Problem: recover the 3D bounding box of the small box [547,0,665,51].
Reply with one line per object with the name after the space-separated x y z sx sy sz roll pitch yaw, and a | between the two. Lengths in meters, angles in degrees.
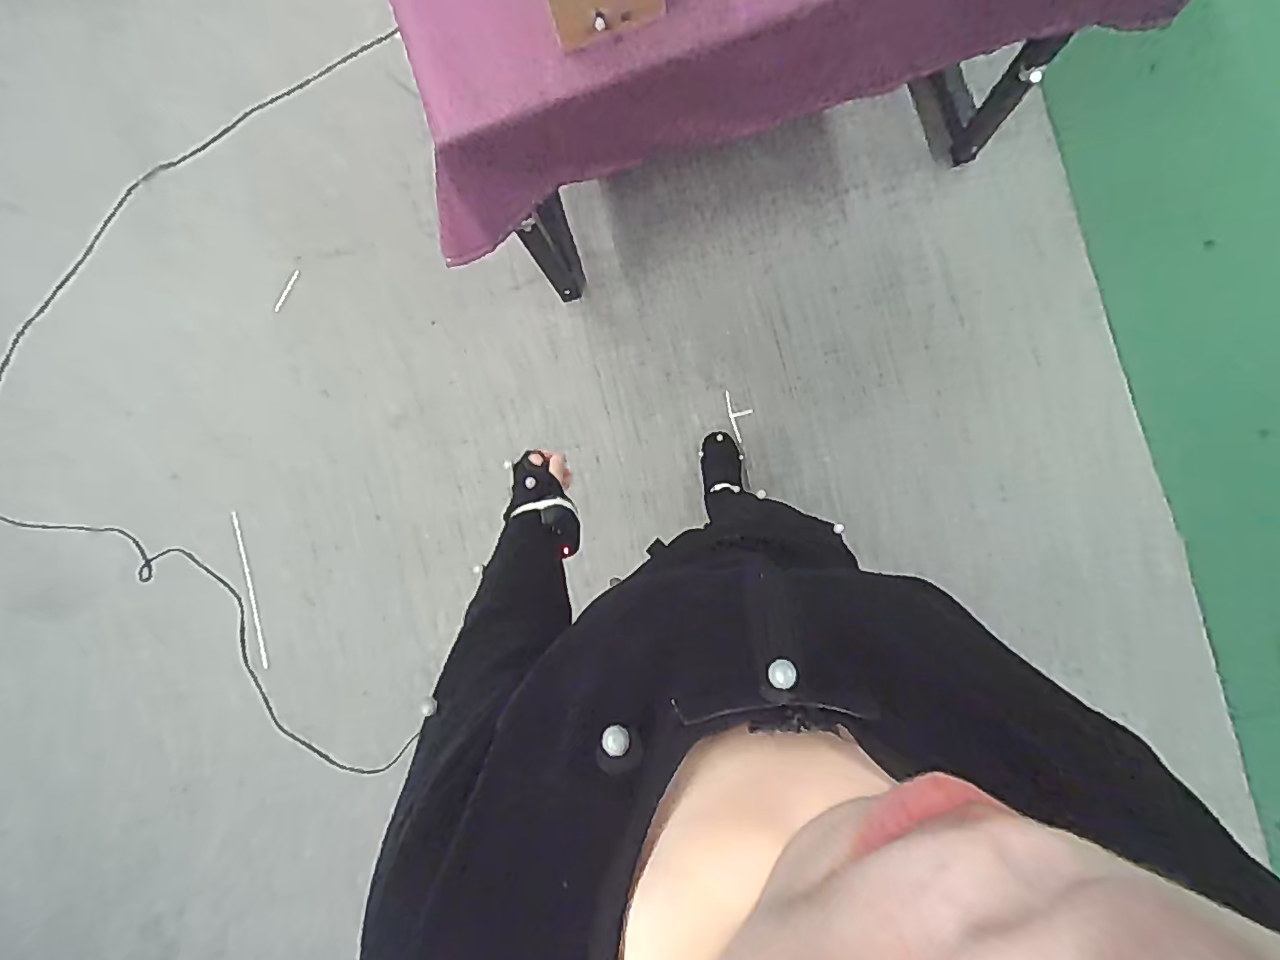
-0.068 -0.753 0.738 0.168 0.176 0.179 -16 87 6 | small box
